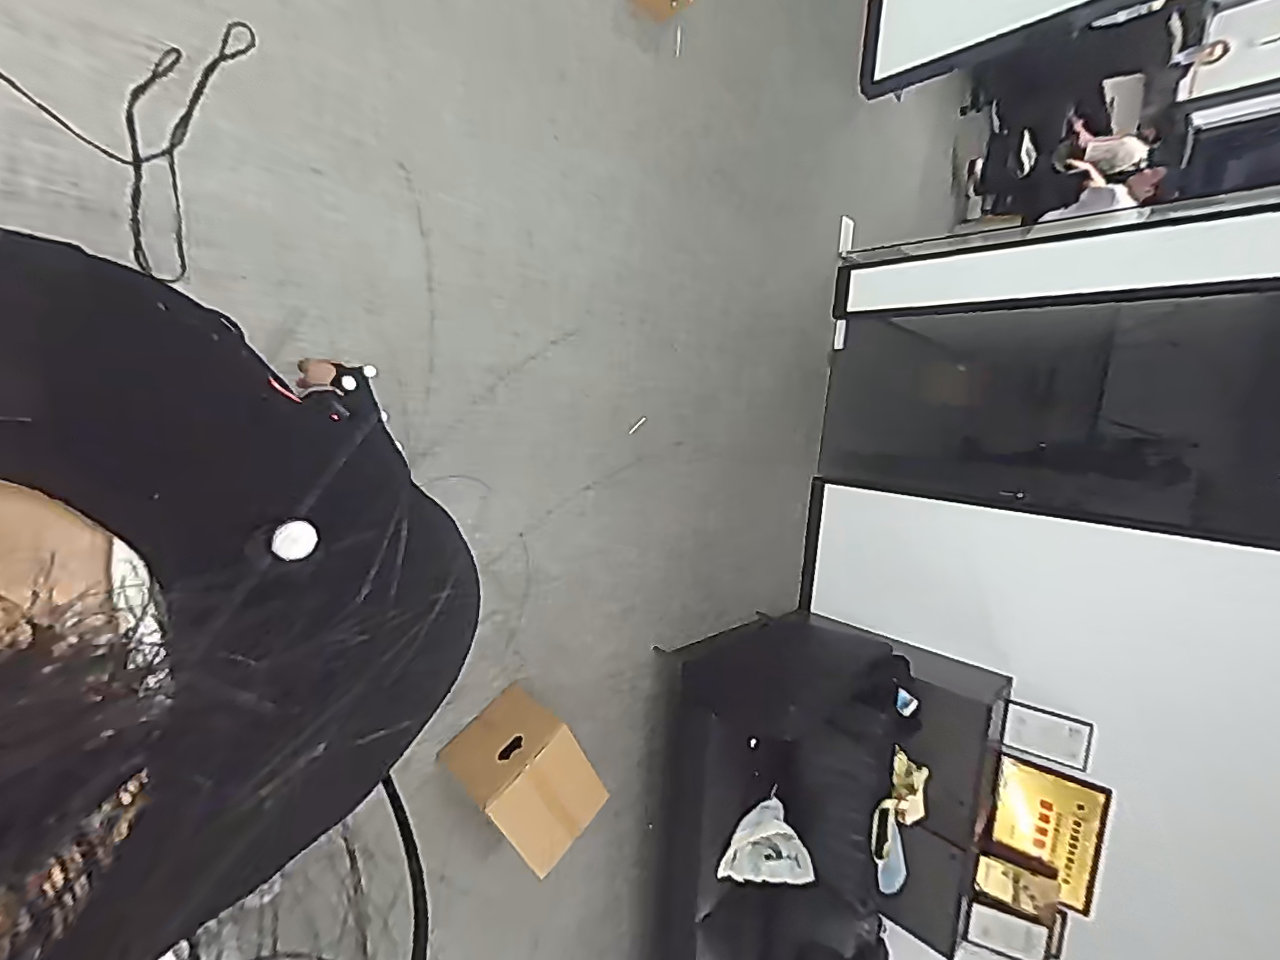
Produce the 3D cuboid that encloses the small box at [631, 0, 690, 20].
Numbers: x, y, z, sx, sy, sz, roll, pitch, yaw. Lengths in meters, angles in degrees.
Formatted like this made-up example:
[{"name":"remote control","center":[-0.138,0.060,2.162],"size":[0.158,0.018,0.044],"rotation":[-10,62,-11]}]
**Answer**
[{"name":"small box","center":[0.059,-1.678,1.784],"size":[0.179,0.176,0.168],"rotation":[6,94,-46]}]
